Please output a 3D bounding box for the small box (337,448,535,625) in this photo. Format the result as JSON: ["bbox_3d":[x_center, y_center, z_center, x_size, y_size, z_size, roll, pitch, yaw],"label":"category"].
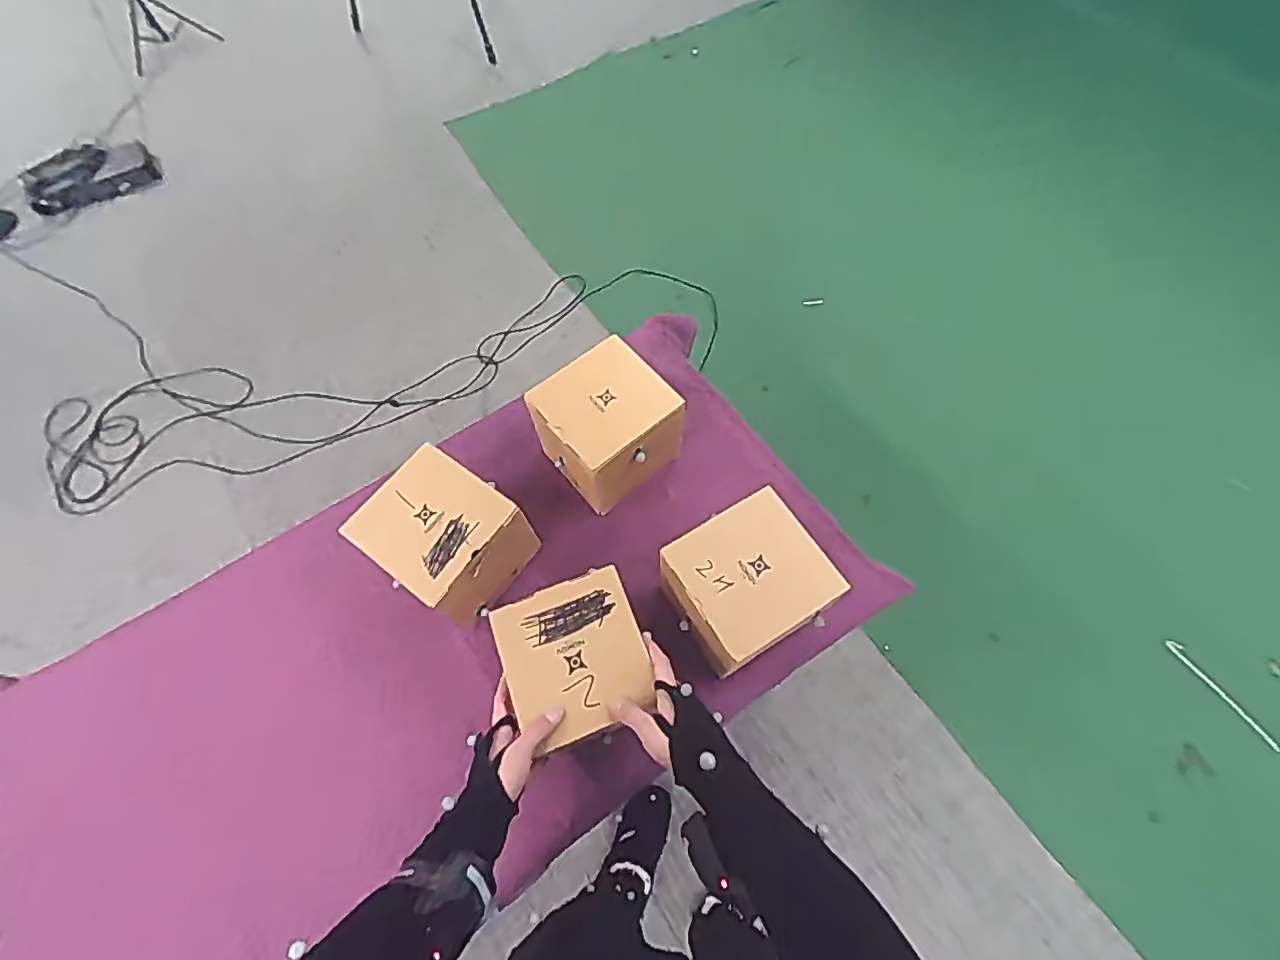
[{"bbox_3d":[-0.276,0.091,0.777,0.179,0.176,0.168,33,70,15],"label":"small box"}]

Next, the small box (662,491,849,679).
[{"bbox_3d":[0.142,0.148,0.734,0.179,0.176,0.168,-29,66,-11],"label":"small box"}]

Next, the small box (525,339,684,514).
[{"bbox_3d":[-0.051,-0.078,0.849,0.179,0.176,0.168,-38,70,-14],"label":"small box"}]
